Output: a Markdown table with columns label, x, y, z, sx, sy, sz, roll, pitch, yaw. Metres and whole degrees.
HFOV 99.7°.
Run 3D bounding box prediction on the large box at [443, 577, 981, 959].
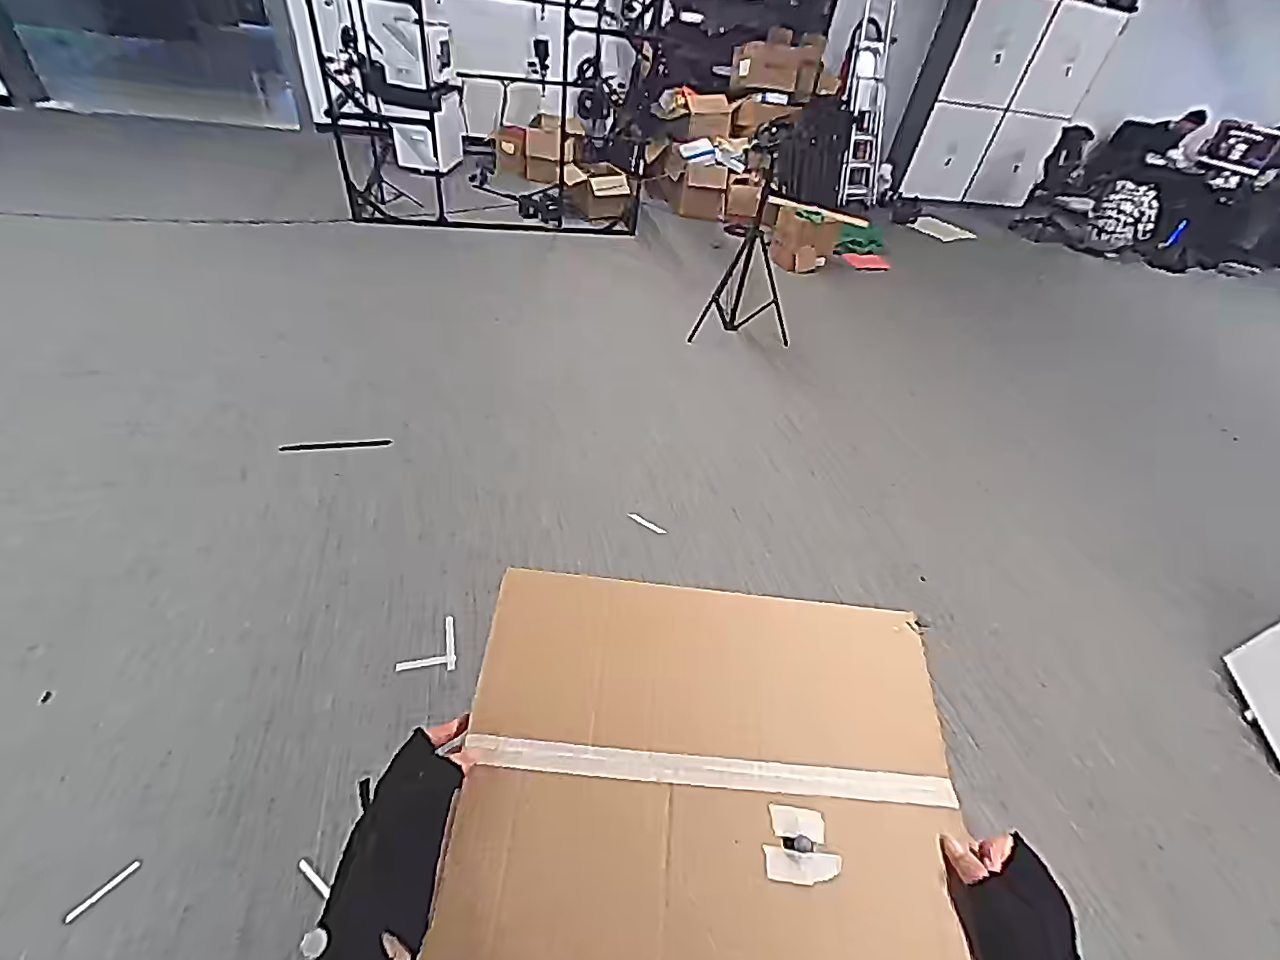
| label | x | y | z | sx | sy | sz | roll | pitch | yaw |
| --- | --- | --- | --- | --- | --- | --- | --- | --- | --- |
| large box | 0.050 | 0.324 | 0.582 | 0.408 | 0.320 | 0.320 | 7 | 57 | -3 |
